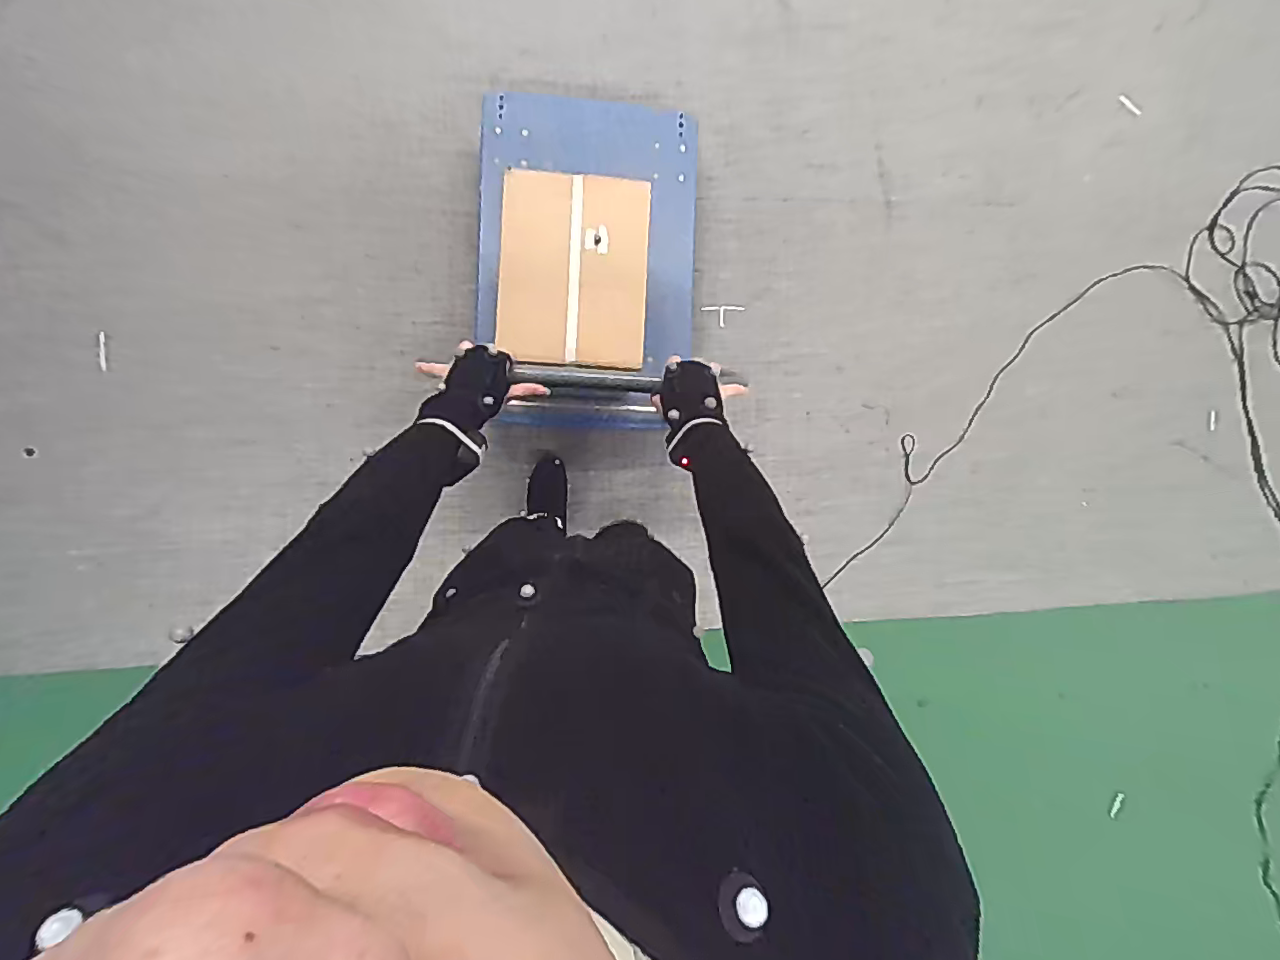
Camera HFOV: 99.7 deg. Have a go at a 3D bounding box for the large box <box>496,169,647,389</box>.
[{"bbox_3d":[-0.157,-0.446,1.292,0.320,0.320,0.408,3,89,-7],"label":"large box"}]
